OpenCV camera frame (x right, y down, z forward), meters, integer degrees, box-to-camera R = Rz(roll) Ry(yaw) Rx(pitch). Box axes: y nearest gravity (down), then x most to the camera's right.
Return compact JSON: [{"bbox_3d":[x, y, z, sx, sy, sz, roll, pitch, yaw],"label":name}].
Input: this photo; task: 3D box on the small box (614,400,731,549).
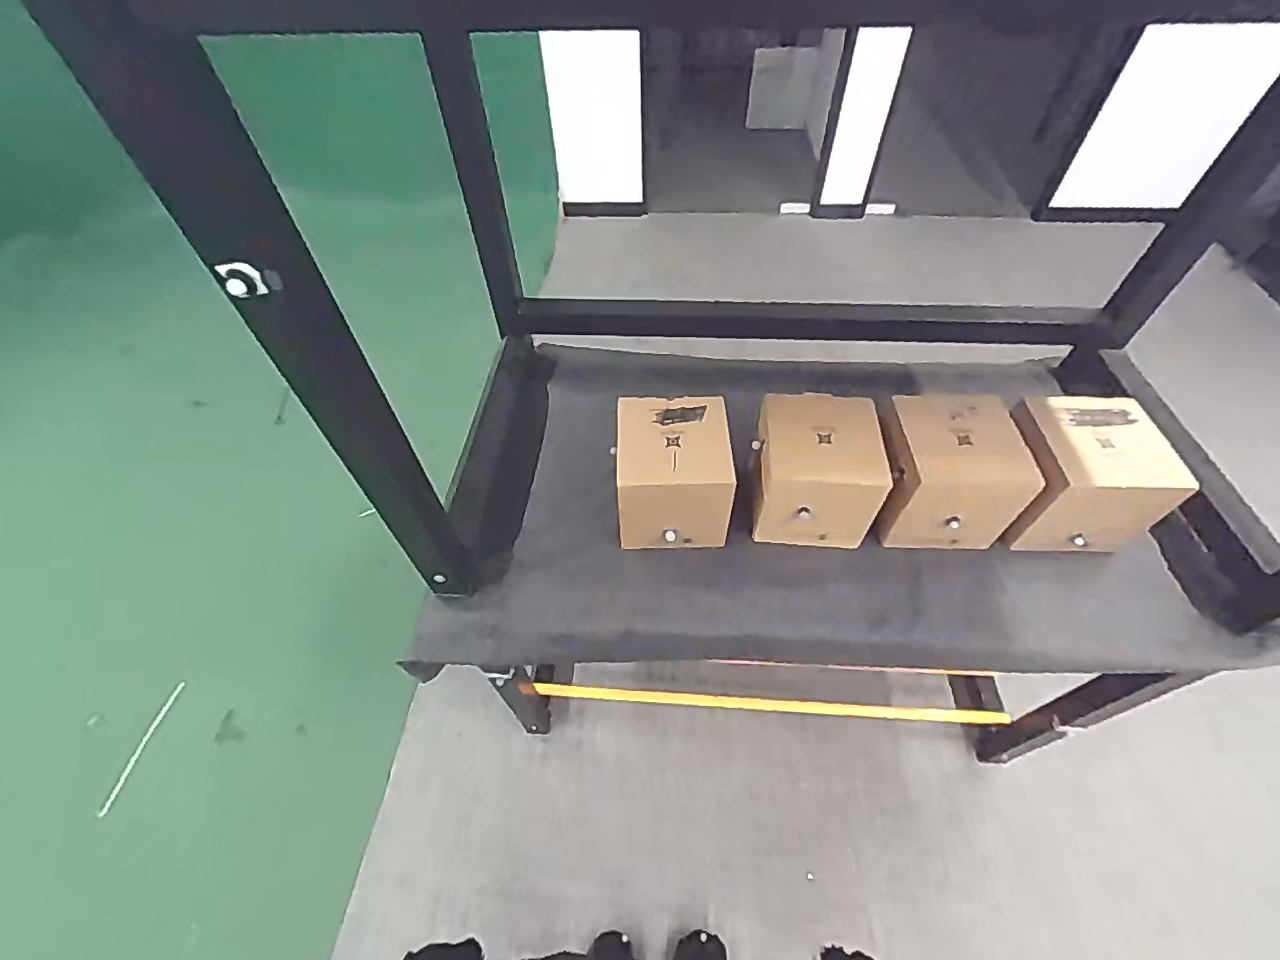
[{"bbox_3d":[0.044,-0.007,0.861,0.168,0.176,0.179,-2,52,0],"label":"small box"}]
